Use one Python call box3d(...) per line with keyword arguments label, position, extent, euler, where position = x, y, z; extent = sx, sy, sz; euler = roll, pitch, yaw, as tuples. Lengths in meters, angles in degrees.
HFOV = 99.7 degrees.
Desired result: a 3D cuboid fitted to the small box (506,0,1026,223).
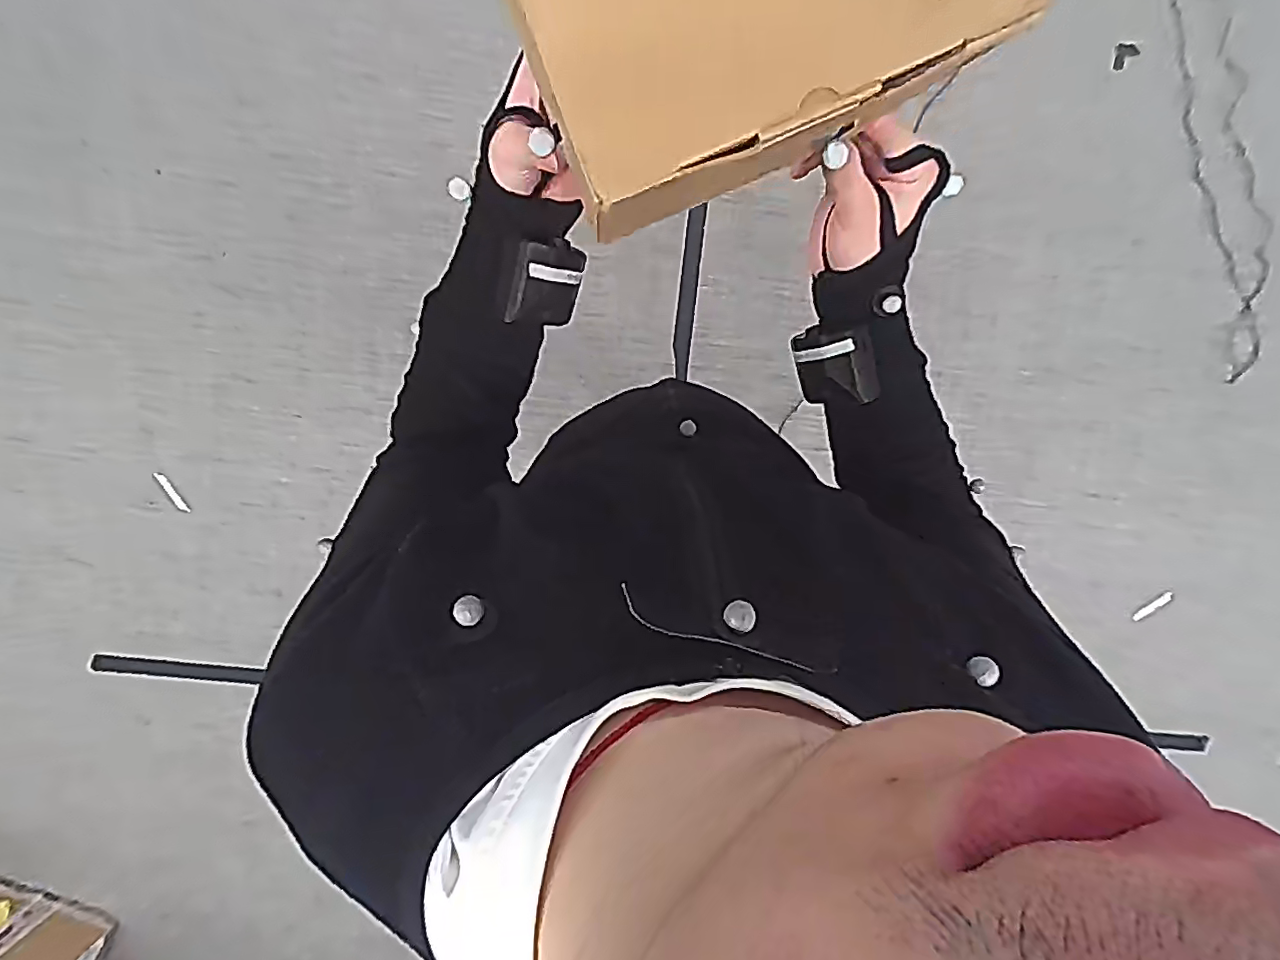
box3d(label="small box", position=(0.024, -0.233, 0.241), extent=(0.168, 0.176, 0.179), euler=(-23, 109, 3))
